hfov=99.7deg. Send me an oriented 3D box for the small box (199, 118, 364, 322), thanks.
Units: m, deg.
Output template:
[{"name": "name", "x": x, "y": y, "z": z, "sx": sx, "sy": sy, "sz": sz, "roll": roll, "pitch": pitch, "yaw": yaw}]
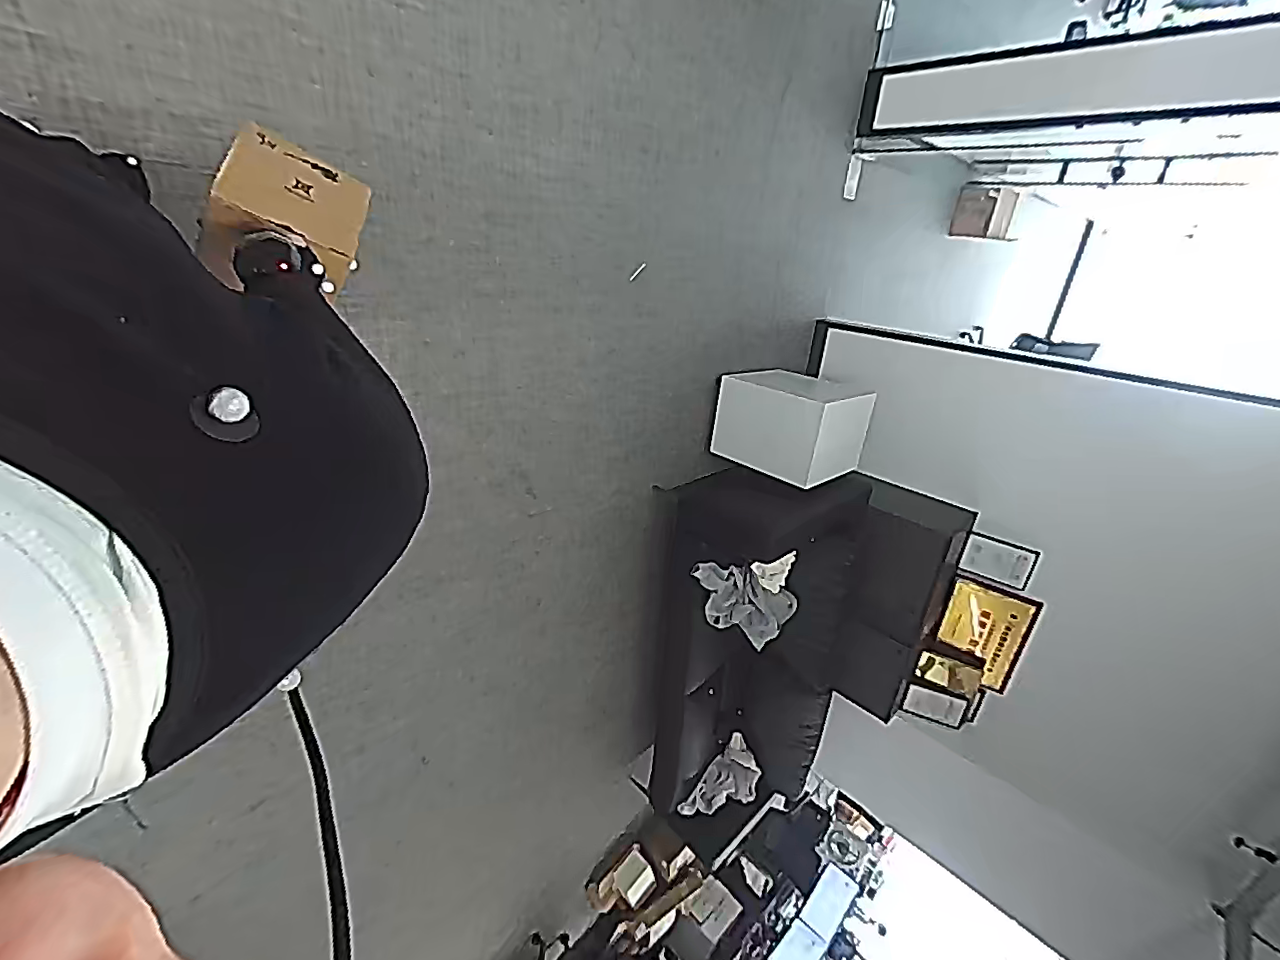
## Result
[{"name": "small box", "x": -0.524, "y": -0.366, "z": 0.794, "sx": 0.168, "sy": 0.179, "sz": 0.176, "roll": 15, "pitch": 144, "yaw": -37}]
